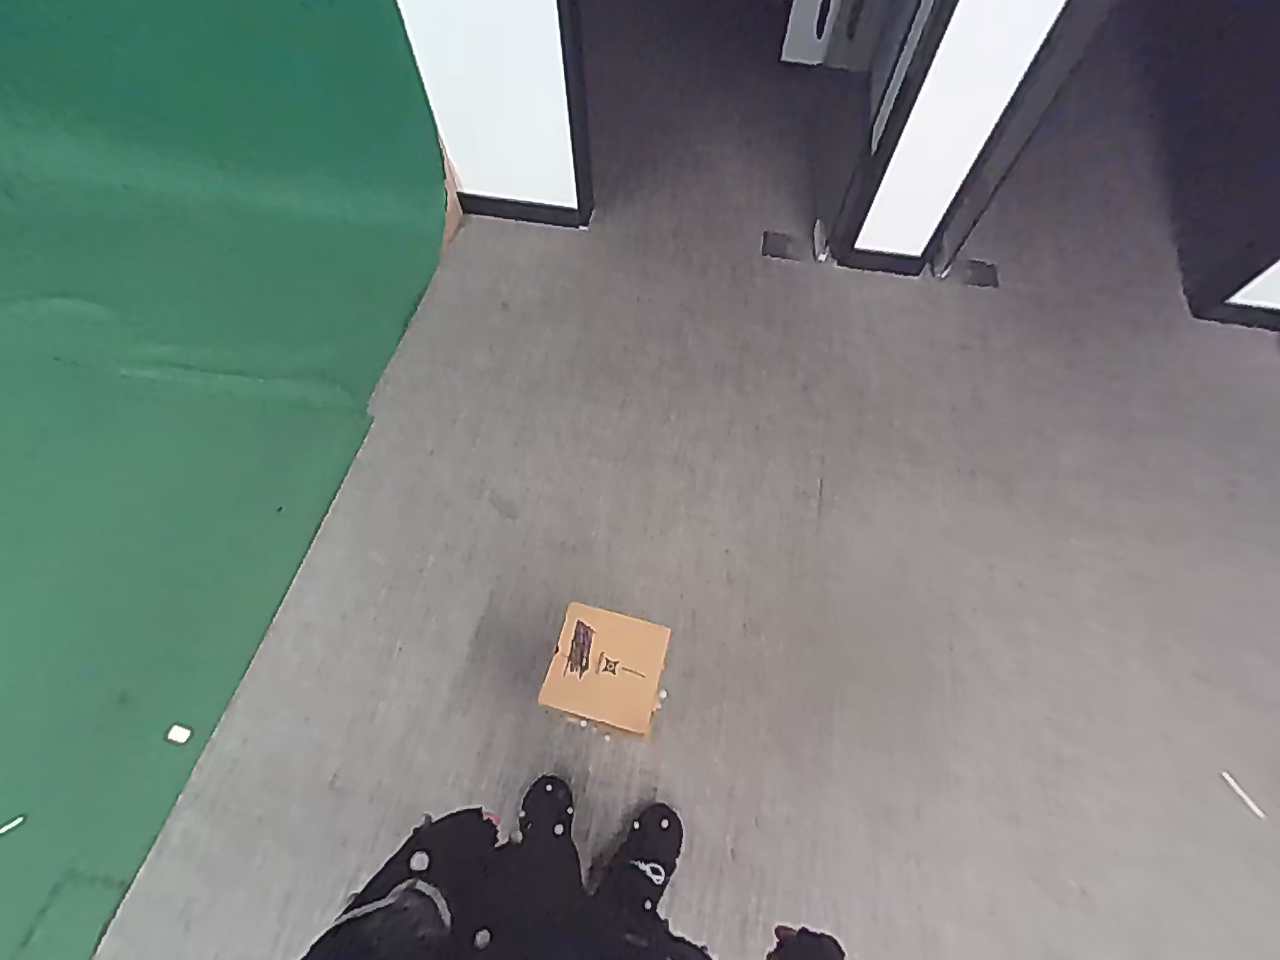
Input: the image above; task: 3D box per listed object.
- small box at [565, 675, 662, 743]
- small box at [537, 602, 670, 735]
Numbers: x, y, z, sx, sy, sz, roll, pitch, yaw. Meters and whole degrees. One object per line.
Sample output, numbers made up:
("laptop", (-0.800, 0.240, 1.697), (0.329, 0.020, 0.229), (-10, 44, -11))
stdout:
("small box", (-0.053, 0.481, 1.218), (0.179, 0.176, 0.168), (13, 64, 6))
("small box", (-0.054, 0.329, 0.929), (0.179, 0.176, 0.168), (14, 63, 8))
